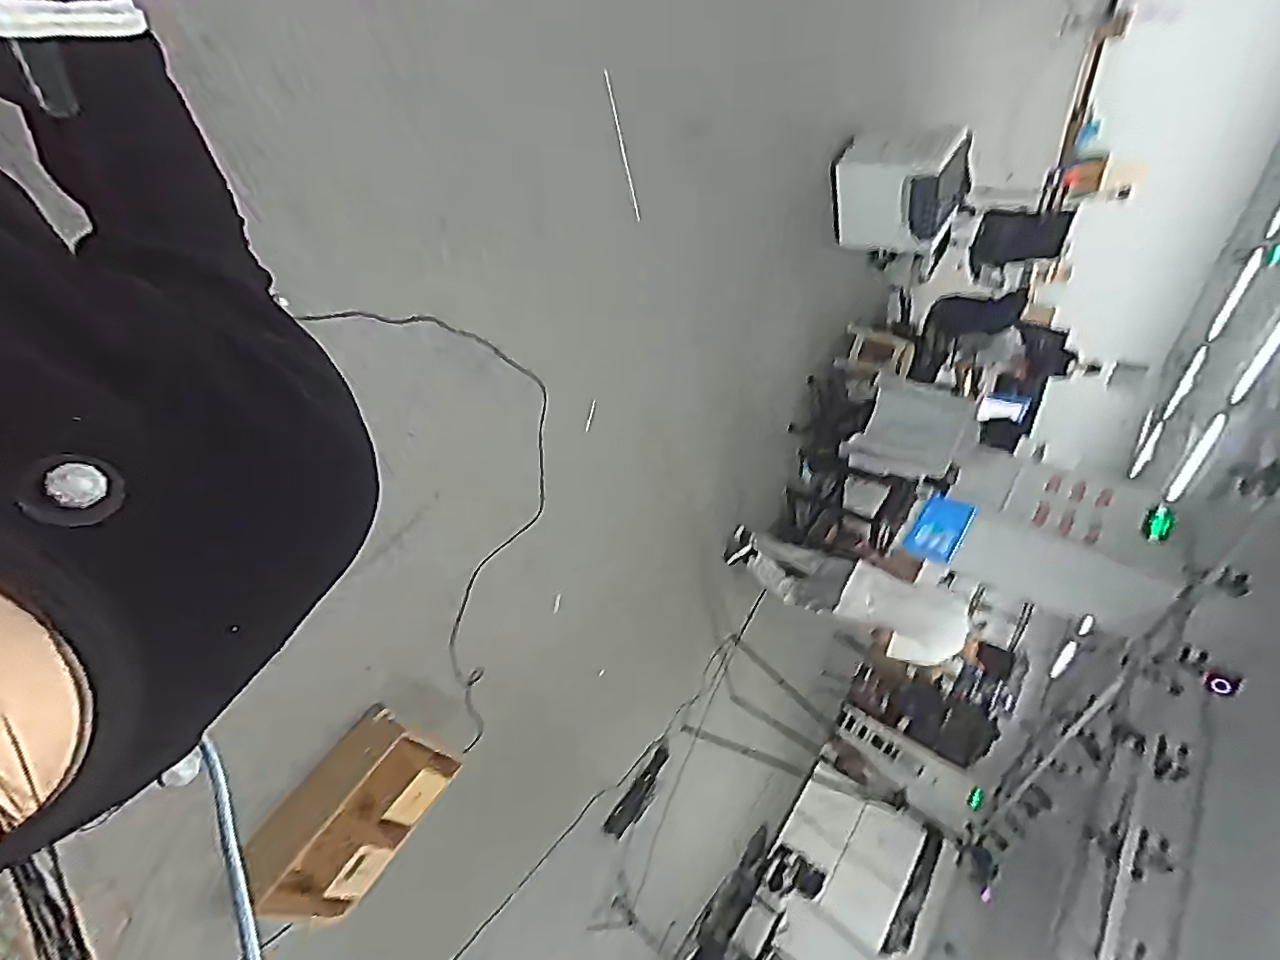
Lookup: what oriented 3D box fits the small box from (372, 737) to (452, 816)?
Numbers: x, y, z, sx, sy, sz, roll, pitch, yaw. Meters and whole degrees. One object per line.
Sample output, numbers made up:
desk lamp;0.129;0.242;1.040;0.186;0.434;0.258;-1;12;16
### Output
small box;-0.829;1.068;1.957;0.179;0.176;0.168;-50;140;-21
